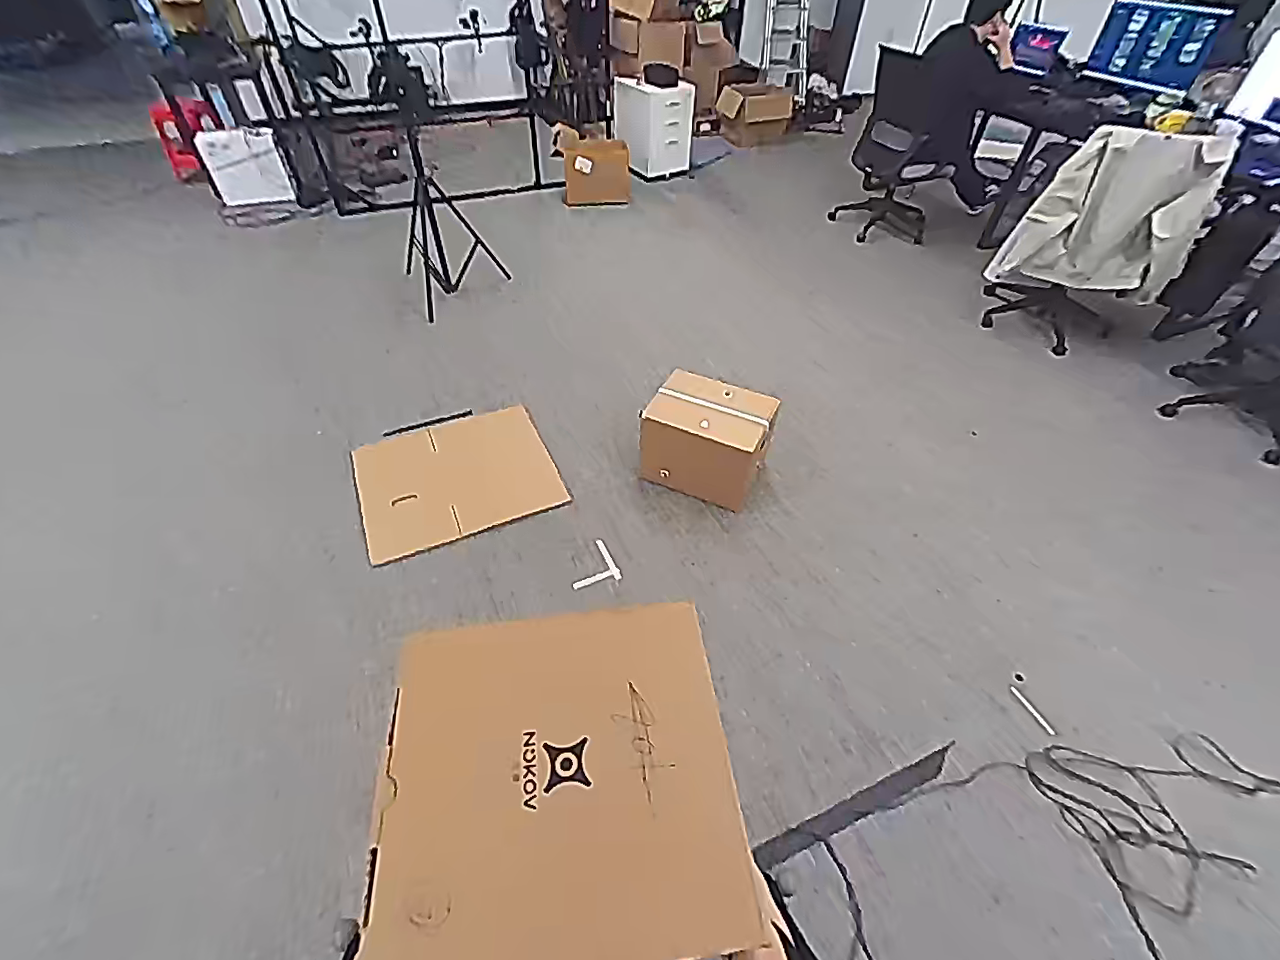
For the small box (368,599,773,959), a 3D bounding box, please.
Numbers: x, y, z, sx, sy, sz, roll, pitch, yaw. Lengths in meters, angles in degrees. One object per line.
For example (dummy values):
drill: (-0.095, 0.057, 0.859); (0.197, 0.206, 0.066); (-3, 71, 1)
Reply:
small box: (-0.038, 0.196, 0.336); (0.179, 0.176, 0.168); (-6, 51, -7)
